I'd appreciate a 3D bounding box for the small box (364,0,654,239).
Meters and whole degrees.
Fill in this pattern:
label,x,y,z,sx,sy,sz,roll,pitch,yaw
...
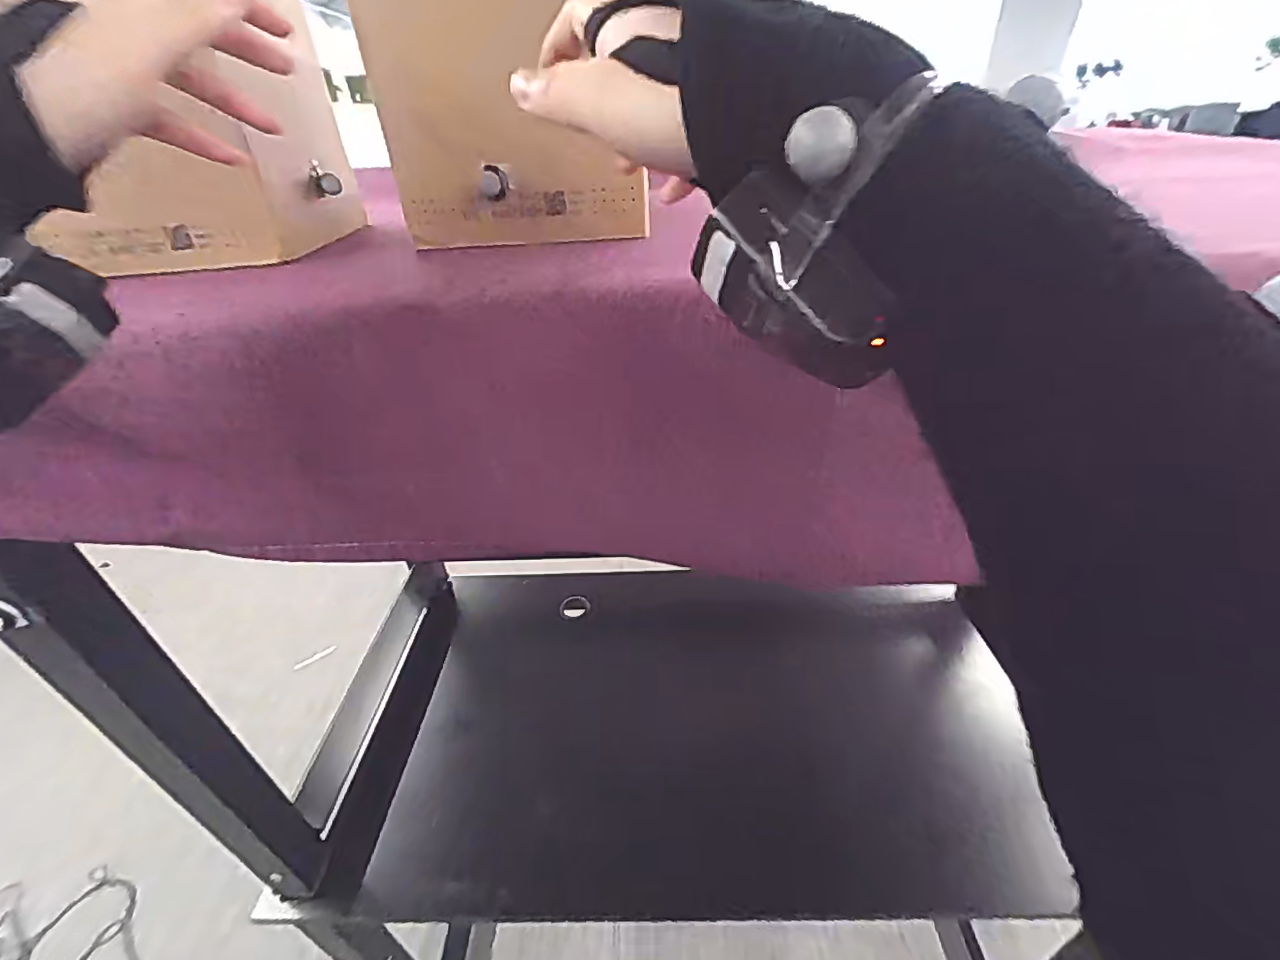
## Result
label,x,y,z,sx,sy,sz,roll,pitch,yaw
small box,-0.077,-0.281,0.397,0.168,0.176,0.179,-3,34,3

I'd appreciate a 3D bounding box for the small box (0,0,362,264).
label,x,y,z,sx,sy,sz,roll,pitch,yaw
small box,-0.321,-0.255,0.378,0.168,0.176,0.179,-7,33,-3
